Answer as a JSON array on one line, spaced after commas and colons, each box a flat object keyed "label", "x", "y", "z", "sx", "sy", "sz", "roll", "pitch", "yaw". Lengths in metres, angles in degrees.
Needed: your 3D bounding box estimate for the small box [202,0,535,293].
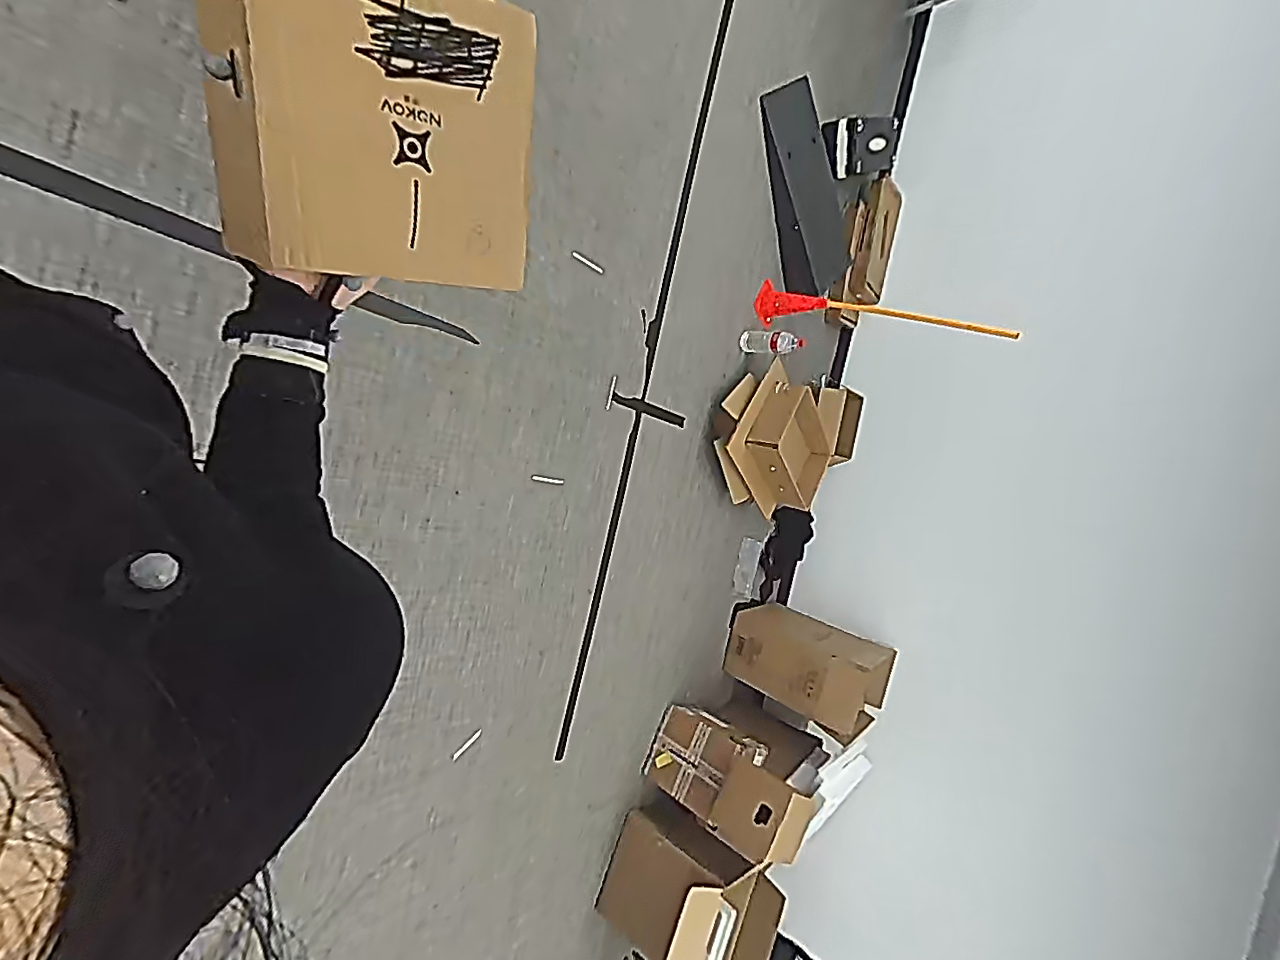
[{"label": "small box", "x": -0.194, "y": -0.240, "z": 0.393, "sx": 0.168, "sy": 0.176, "sz": 0.179, "roll": -12, "pitch": 118, "yaw": -41}]
